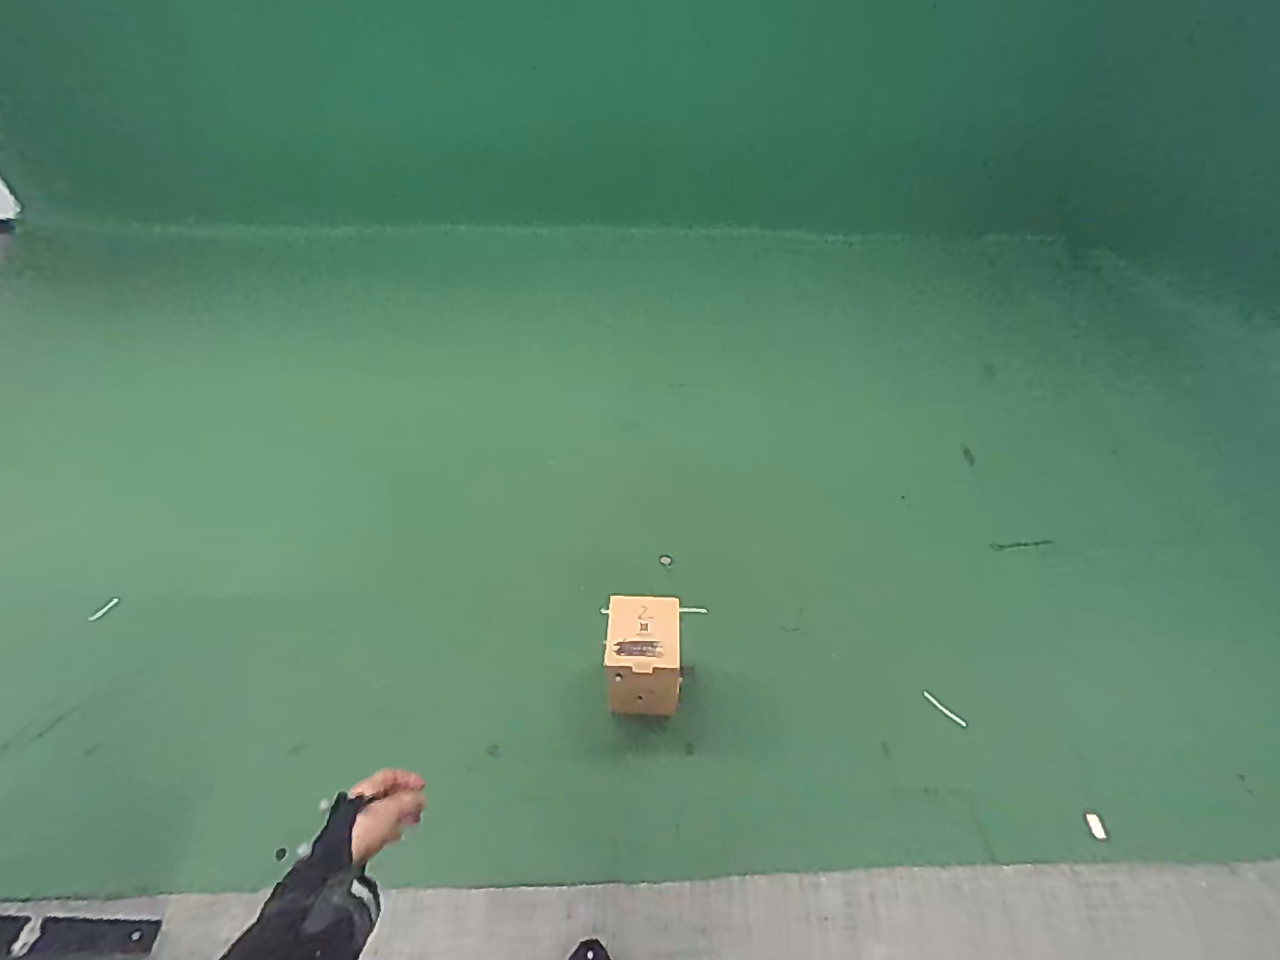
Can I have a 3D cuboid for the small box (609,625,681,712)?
[{"bbox_3d":[0.012,0.494,1.410,0.179,0.176,0.168,2,50,1],"label":"small box"}]
